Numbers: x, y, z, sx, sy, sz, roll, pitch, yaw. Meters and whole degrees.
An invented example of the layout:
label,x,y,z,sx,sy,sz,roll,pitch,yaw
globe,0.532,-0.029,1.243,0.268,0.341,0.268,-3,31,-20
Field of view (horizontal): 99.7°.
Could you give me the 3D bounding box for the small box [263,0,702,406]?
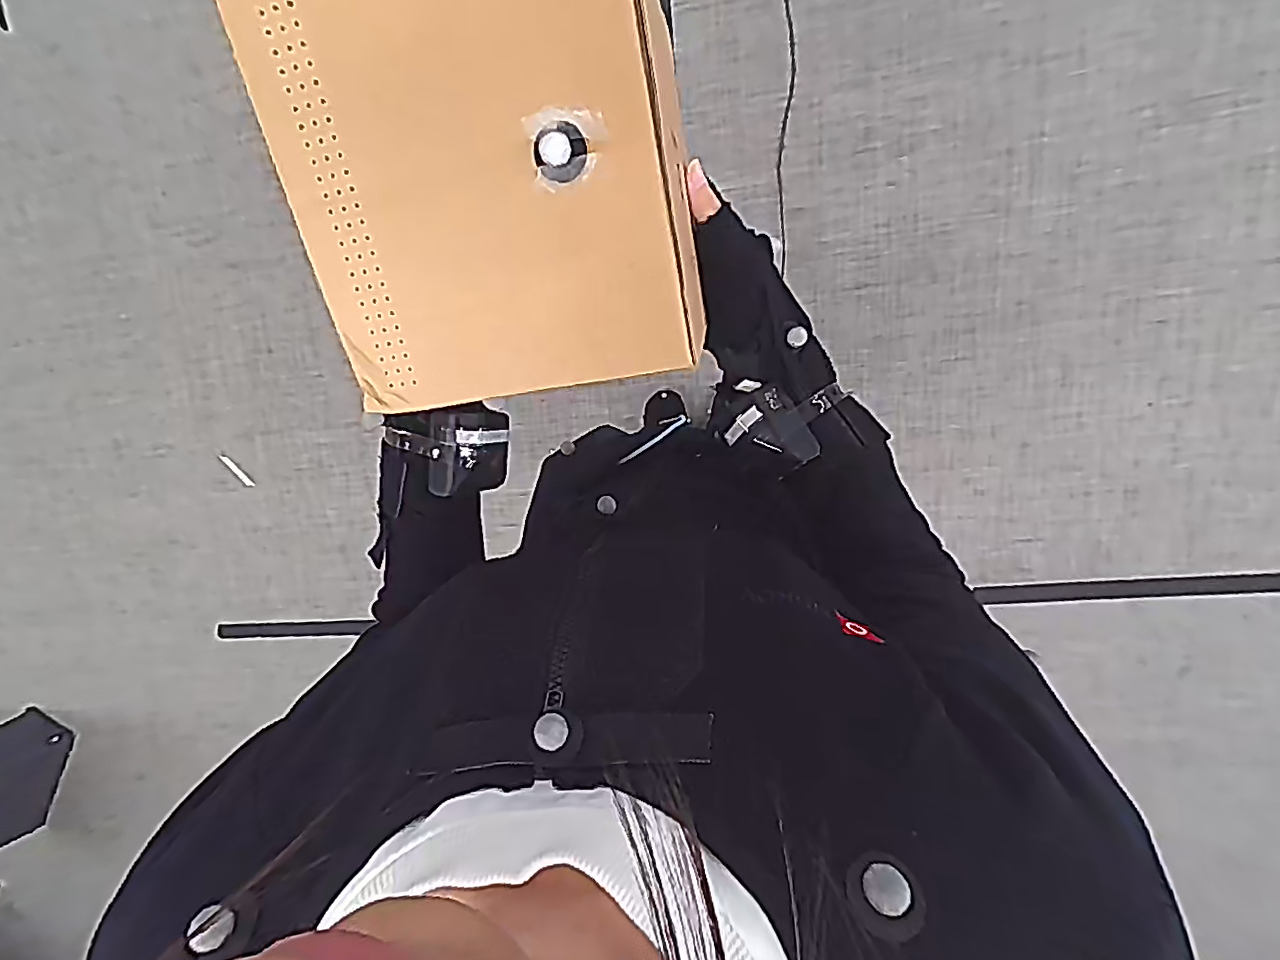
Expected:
label,x,y,z,sx,sy,sz,roll,pitch,yaw
small box,-0.062,-0.154,0.309,0.176,0.168,0.179,-7,110,12
